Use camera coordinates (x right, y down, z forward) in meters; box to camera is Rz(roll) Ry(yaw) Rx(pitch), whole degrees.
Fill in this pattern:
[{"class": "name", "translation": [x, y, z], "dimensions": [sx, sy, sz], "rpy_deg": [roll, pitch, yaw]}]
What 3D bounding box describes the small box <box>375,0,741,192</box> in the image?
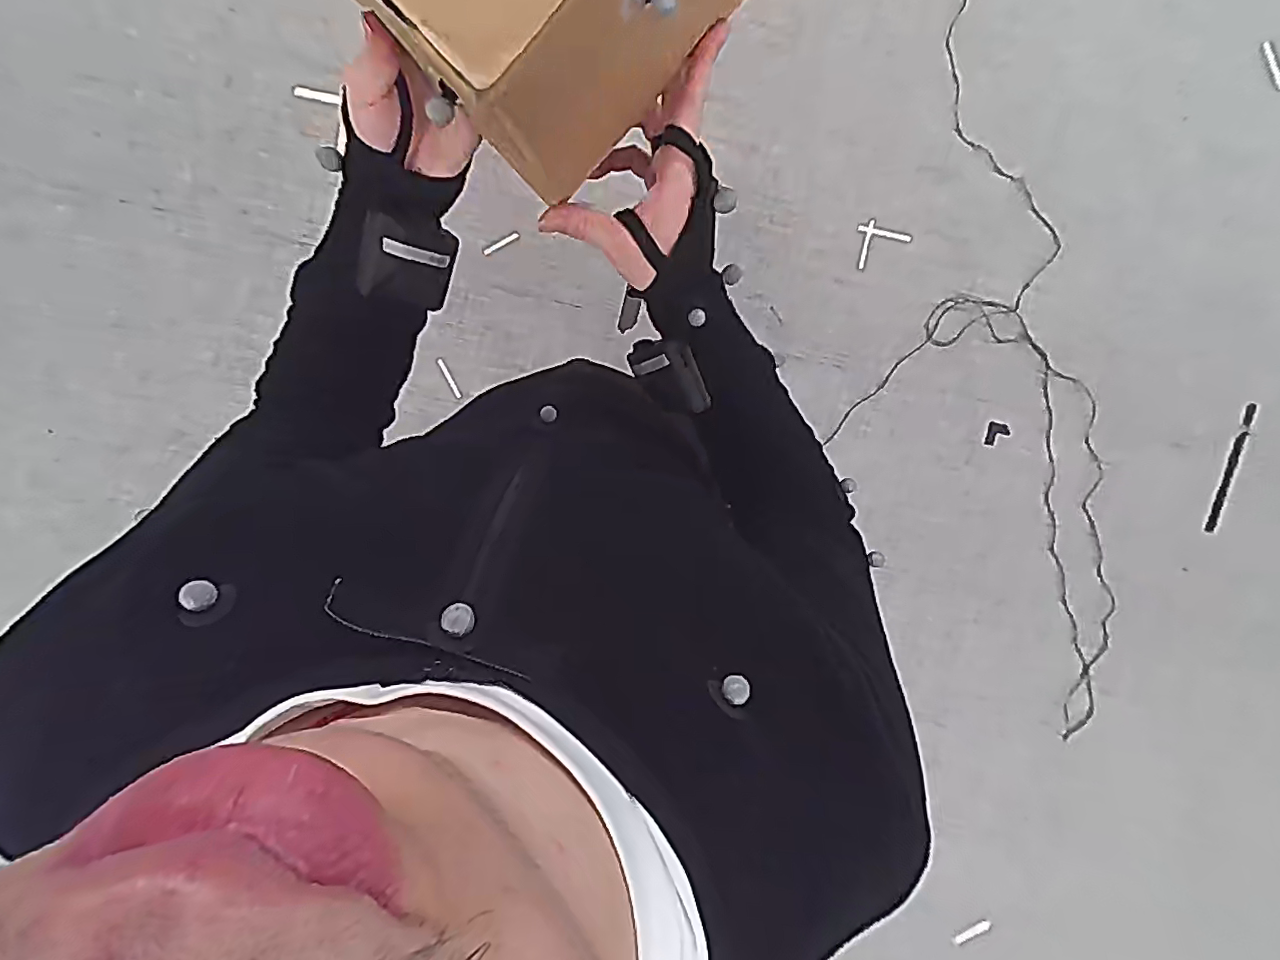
[{"class": "small box", "translation": [-0.046, -0.271, 0.245], "dimensions": [0.168, 0.176, 0.179], "rpy_deg": [44, 100, -10]}]
